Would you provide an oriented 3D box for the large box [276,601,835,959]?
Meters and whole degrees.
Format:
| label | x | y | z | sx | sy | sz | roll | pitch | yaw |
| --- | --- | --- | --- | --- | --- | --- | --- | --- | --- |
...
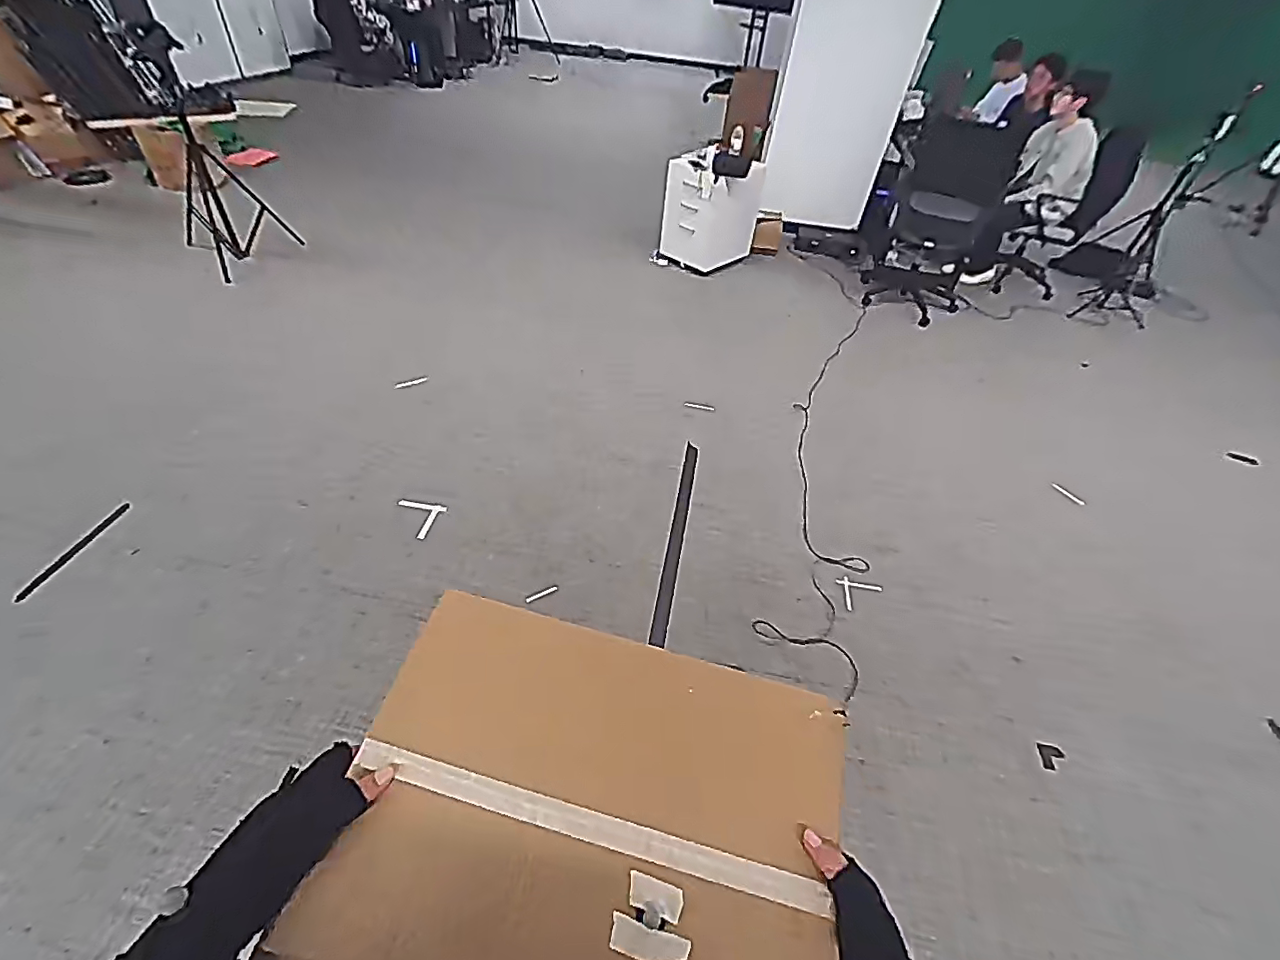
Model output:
| label | x | y | z | sx | sy | sz | roll | pitch | yaw |
| --- | --- | --- | --- | --- | --- | --- | --- | --- | --- |
| large box | -0.050 | 0.373 | 0.573 | 0.408 | 0.320 | 0.320 | 14 | 55 | 6 |
